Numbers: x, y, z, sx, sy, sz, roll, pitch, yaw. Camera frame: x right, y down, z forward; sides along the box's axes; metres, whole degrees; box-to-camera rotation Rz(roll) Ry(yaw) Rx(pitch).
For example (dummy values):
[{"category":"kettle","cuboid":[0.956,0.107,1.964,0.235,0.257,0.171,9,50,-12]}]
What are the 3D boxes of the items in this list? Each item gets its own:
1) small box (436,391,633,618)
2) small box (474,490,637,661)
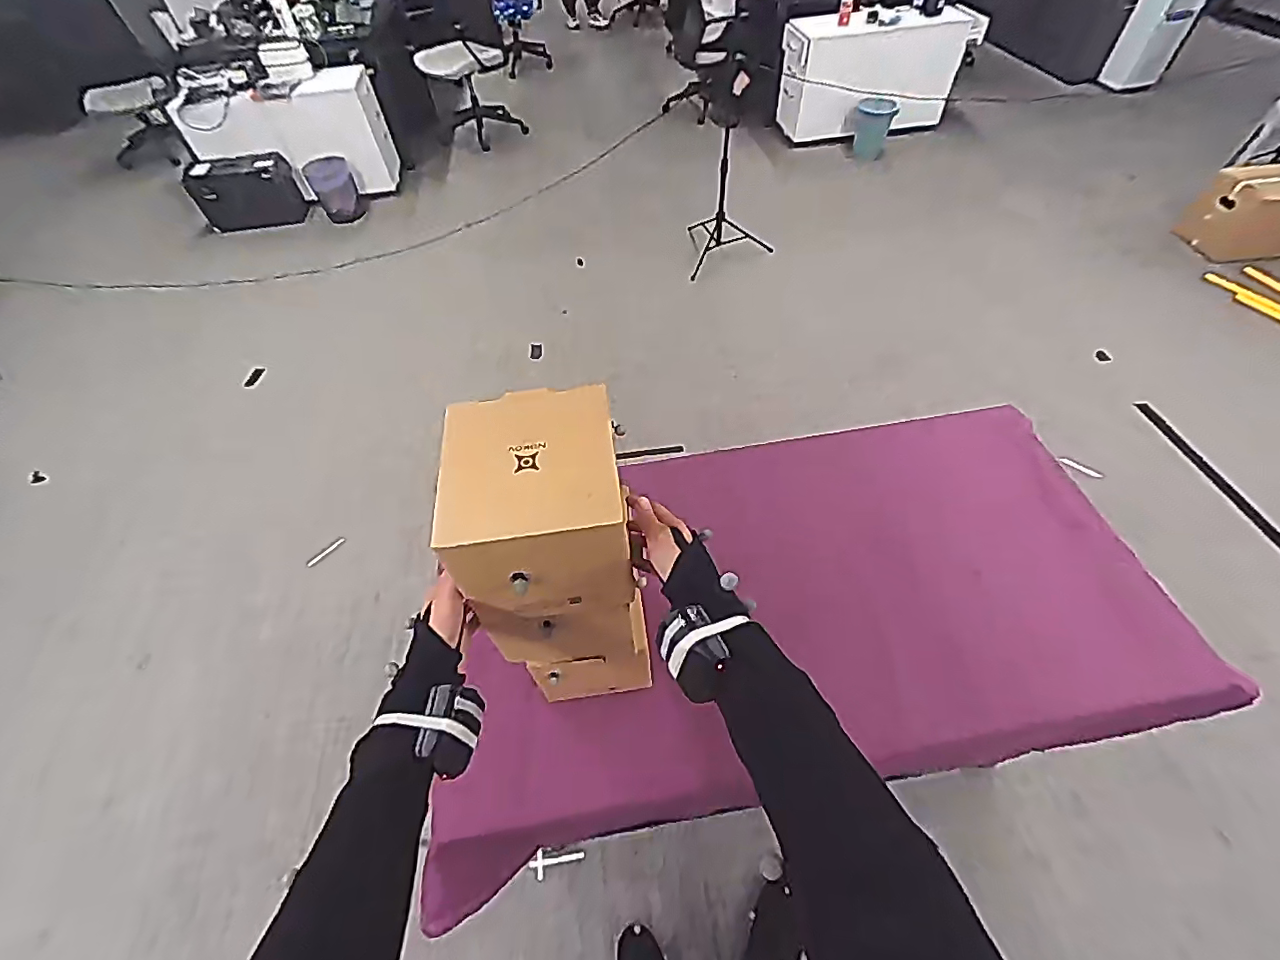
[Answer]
[{"category":"small box","cuboid":[-0.100,0.033,0.575,0.168,0.176,0.179,-7,51,-3]},{"category":"small box","cuboid":[-0.095,0.129,0.706,0.179,0.176,0.168,-2,53,1]}]
